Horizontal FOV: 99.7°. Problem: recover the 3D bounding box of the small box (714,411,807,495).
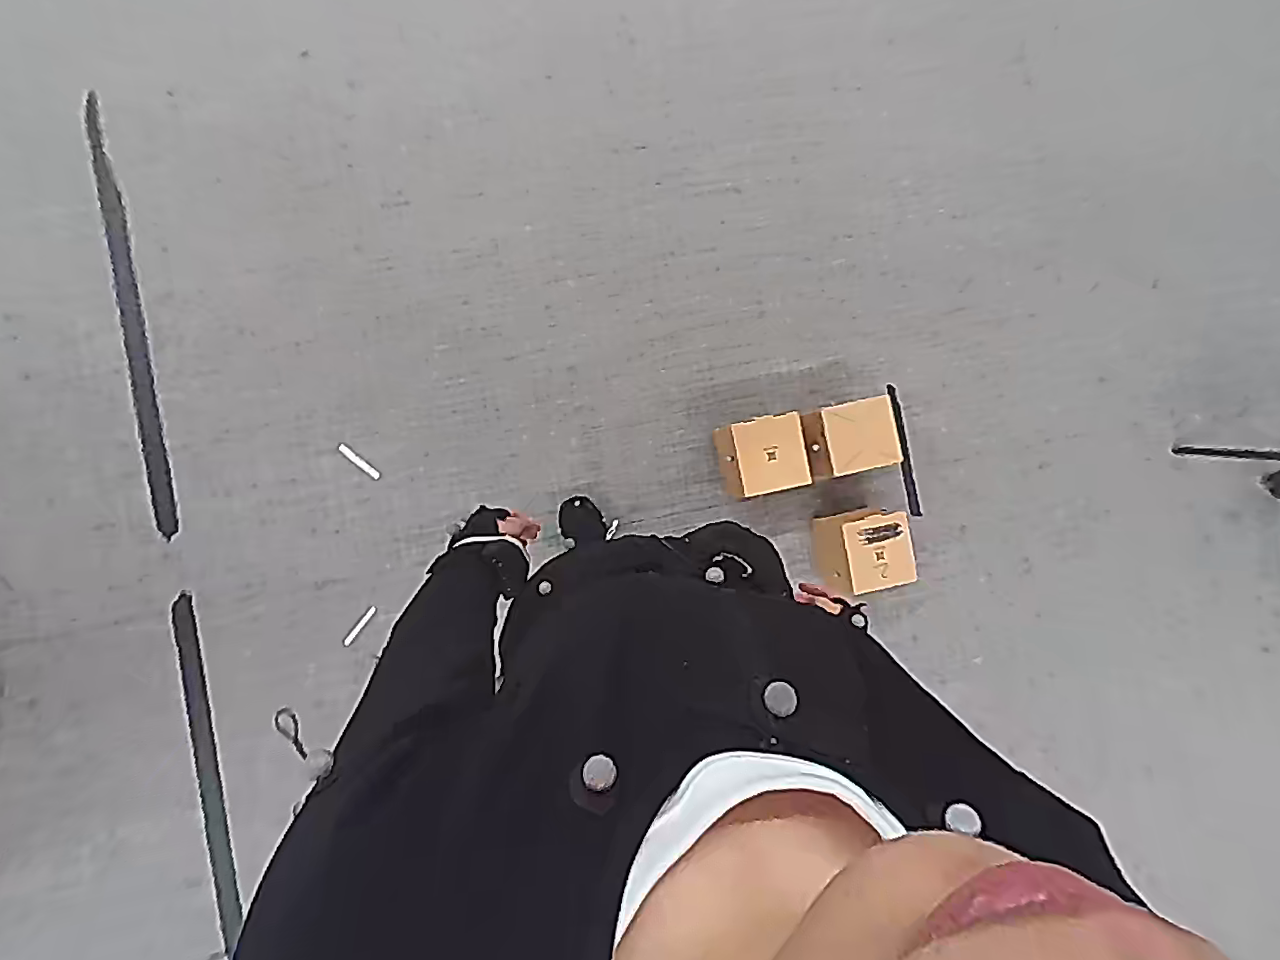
[{"bbox_3d":[0.294,-0.065,1.346,0.168,0.176,0.179,-11,91,-6],"label":"small box"}]
